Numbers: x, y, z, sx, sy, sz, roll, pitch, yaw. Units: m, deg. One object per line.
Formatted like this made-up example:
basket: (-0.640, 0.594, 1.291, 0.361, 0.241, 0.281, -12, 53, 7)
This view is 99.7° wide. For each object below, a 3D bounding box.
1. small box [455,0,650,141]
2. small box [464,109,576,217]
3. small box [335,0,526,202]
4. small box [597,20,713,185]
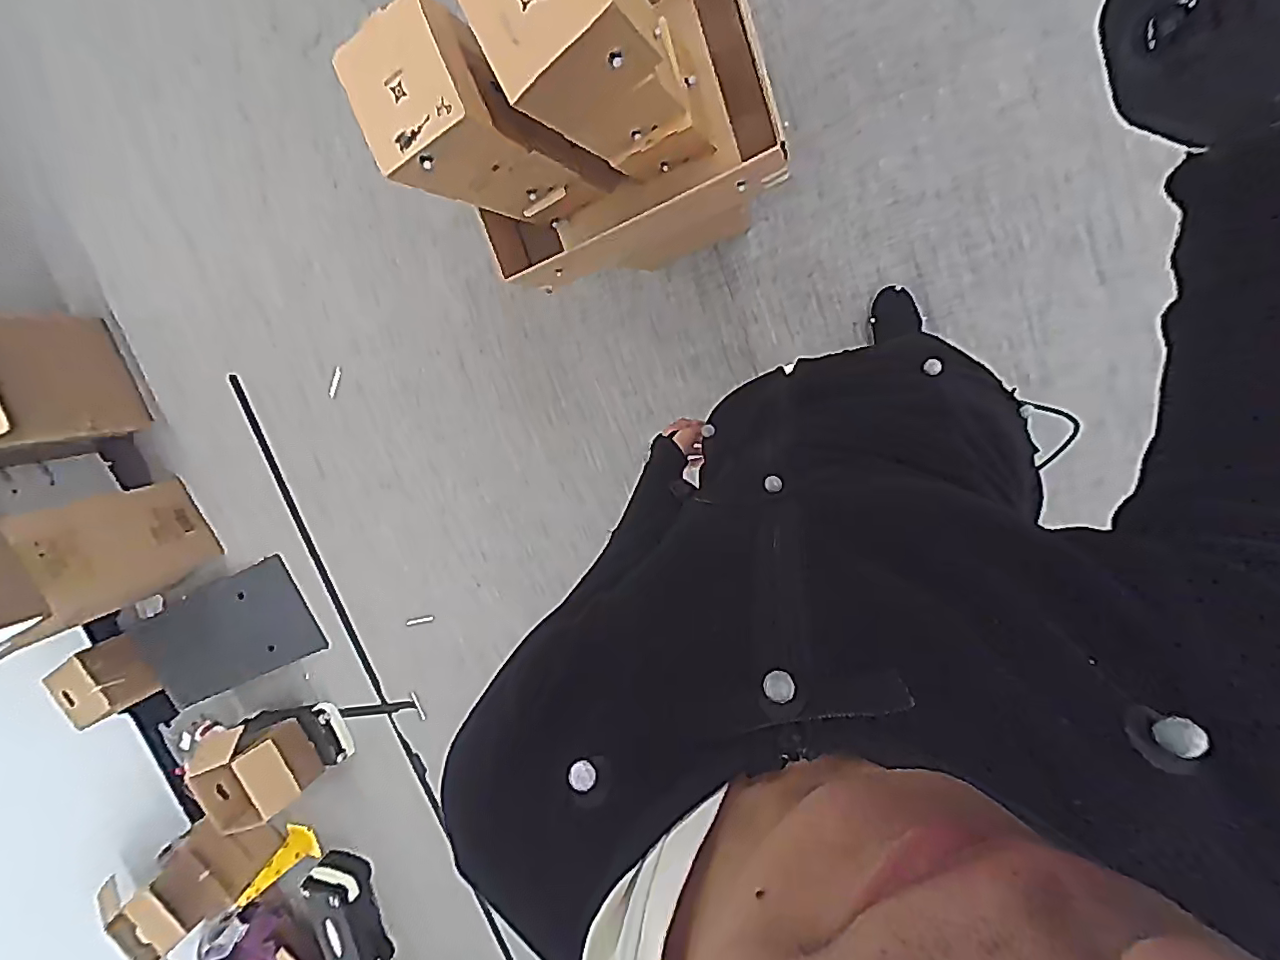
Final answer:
small box: (-0.105, -0.604, 0.725, 0.179, 0.176, 0.168, -26, 93, 27)
small box: (-0.242, -0.598, 0.958, 0.168, 0.176, 0.179, -18, 98, 24)
small box: (-0.303, -0.554, 0.810, 0.168, 0.176, 0.179, -18, 97, 25)
small box: (0.023, -0.690, 1.015, 0.168, 0.176, 0.179, -13, 101, 26)
